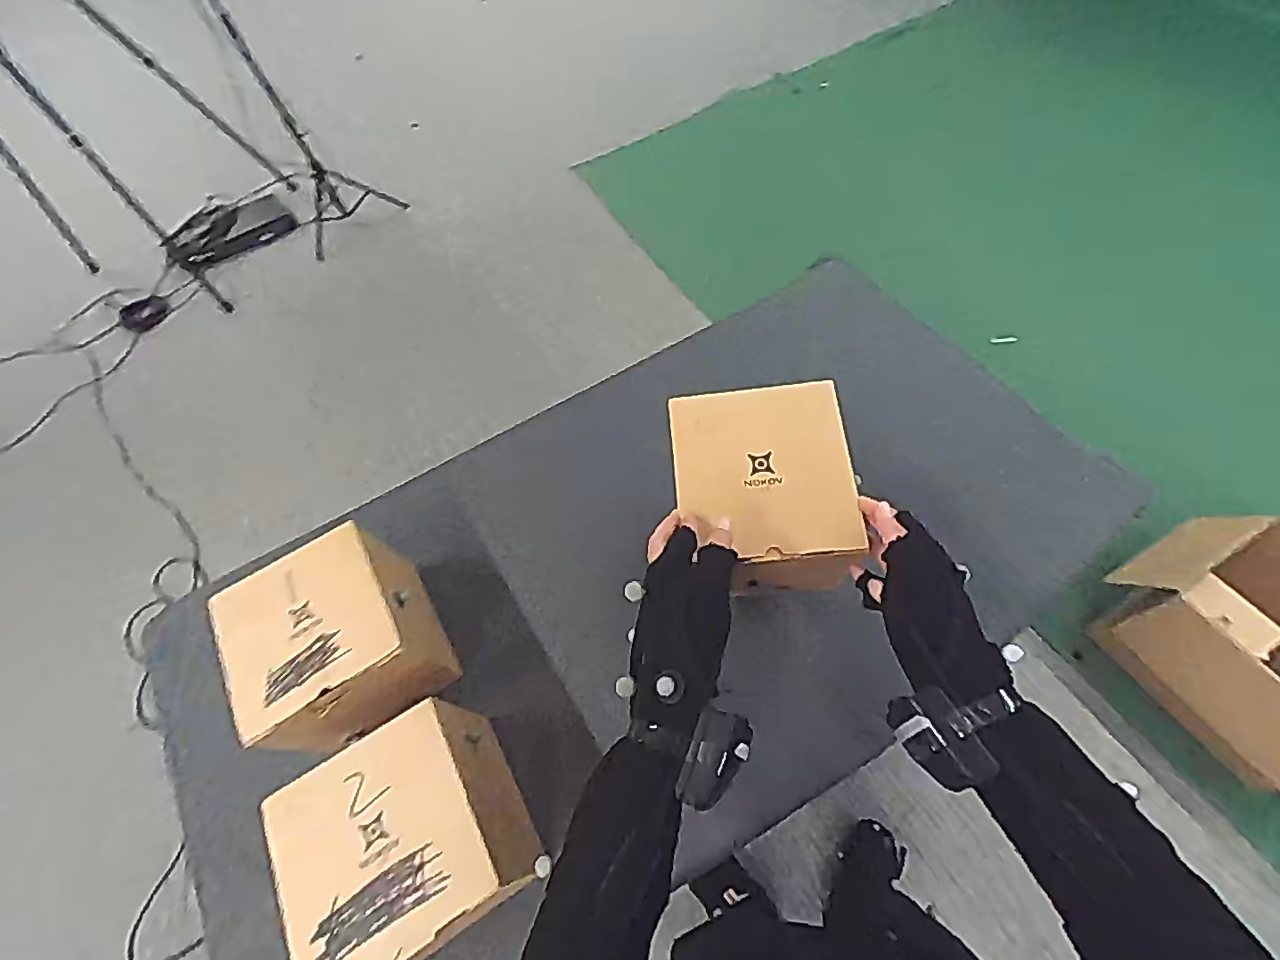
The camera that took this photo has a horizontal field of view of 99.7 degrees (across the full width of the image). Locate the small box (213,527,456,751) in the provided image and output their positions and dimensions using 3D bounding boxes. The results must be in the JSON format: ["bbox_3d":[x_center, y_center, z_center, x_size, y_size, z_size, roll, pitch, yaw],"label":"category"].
[{"bbox_3d":[-0.345,0.192,0.637,0.168,0.176,0.179,-31,62,-12],"label":"small box"}]

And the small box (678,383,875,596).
[{"bbox_3d":[0.130,0.020,0.582,0.168,0.176,0.179,-6,68,6],"label":"small box"}]
